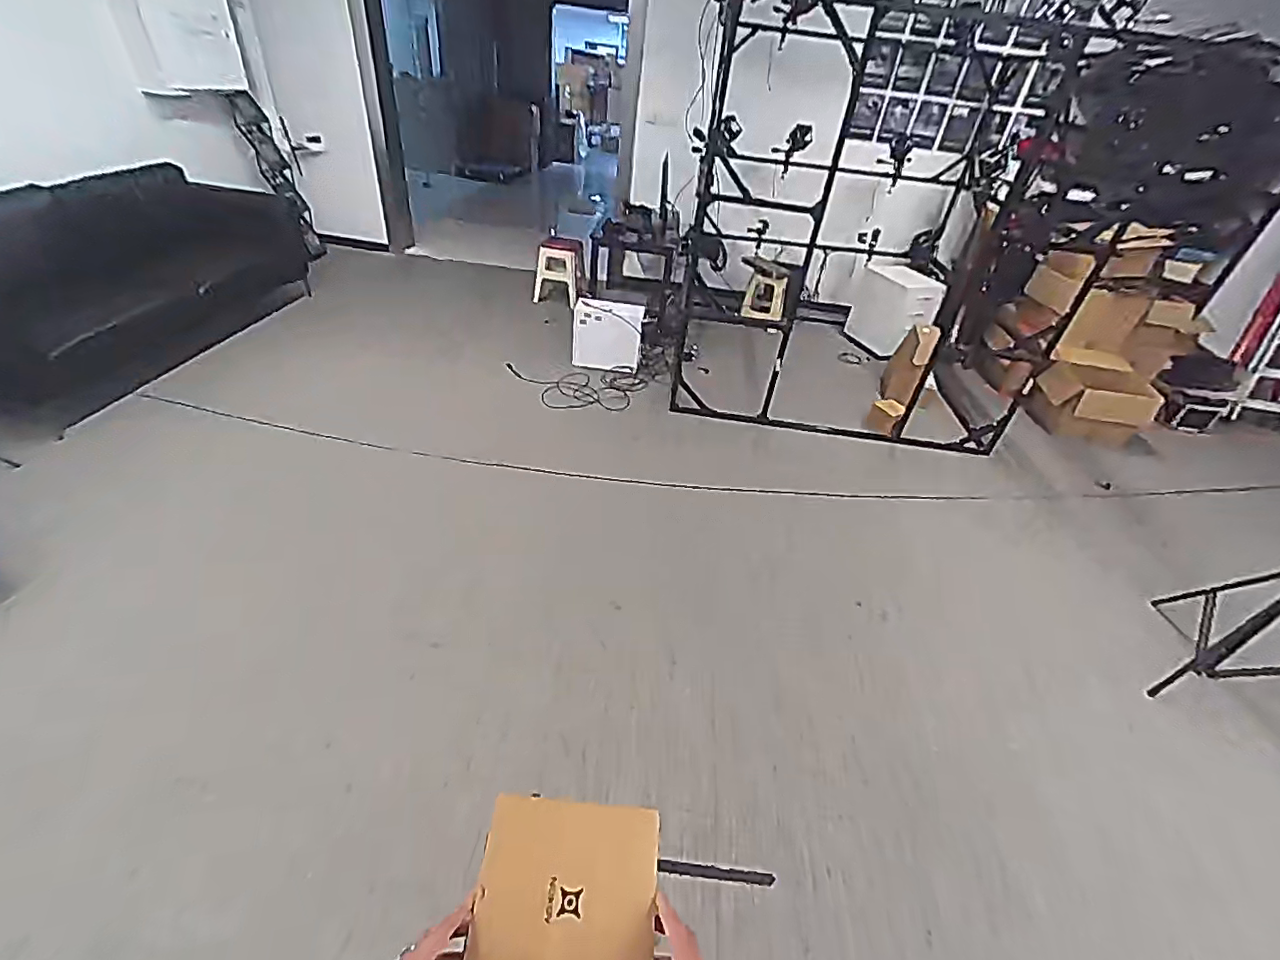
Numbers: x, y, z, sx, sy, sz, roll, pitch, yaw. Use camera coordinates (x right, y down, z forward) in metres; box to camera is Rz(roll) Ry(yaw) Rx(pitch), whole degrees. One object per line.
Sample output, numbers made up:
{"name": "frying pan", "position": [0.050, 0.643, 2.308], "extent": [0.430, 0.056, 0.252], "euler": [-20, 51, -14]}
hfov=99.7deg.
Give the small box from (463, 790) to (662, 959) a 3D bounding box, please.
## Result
{"name": "small box", "position": [-0.076, 0.447, 0.582], "extent": [0.179, 0.176, 0.168], "euler": [6, 51, -1]}
